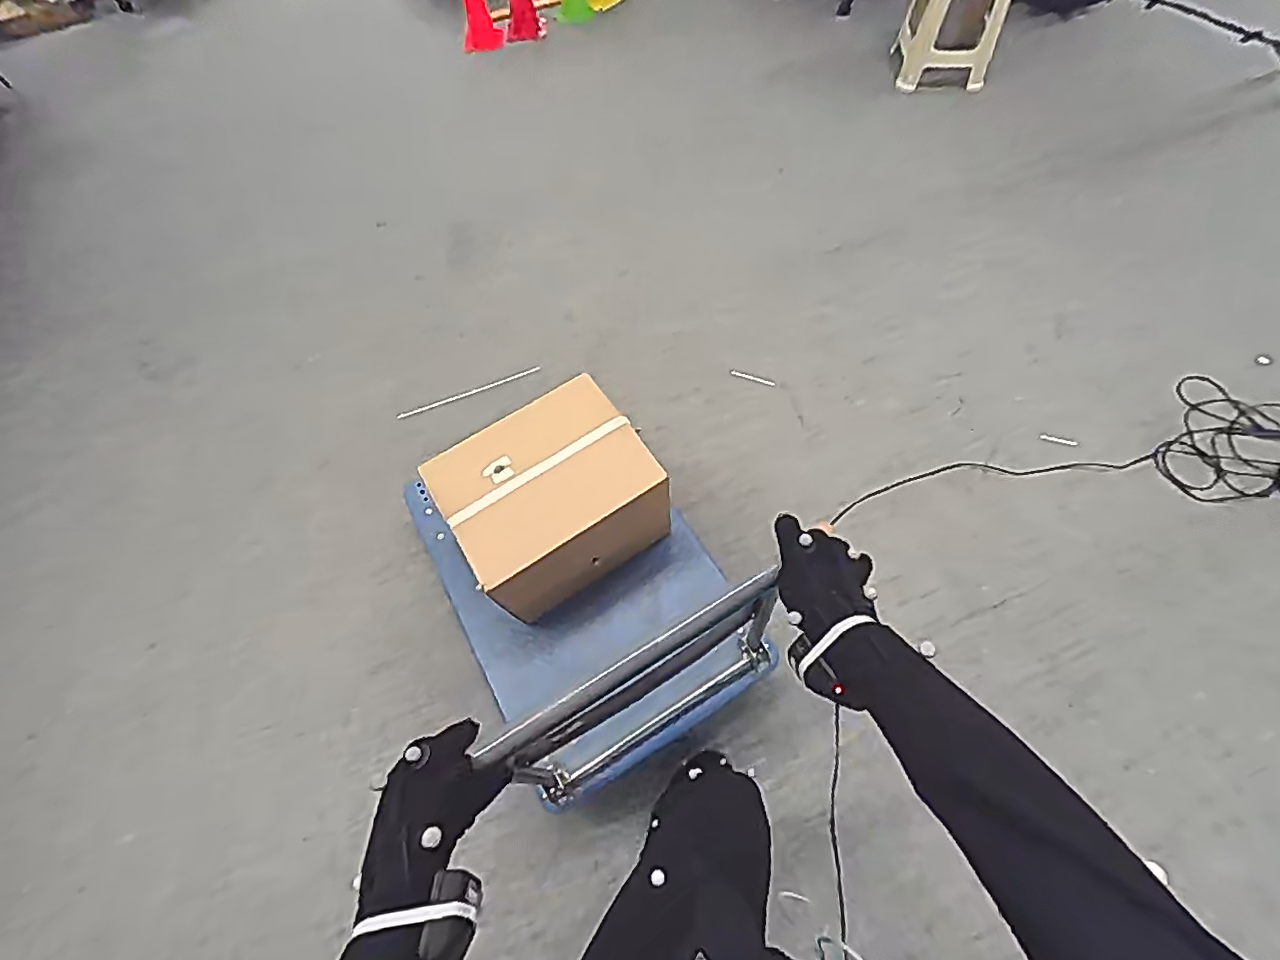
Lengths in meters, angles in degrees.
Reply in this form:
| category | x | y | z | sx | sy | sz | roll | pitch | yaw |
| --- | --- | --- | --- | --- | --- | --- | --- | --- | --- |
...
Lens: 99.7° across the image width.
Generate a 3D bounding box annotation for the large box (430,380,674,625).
| category | x | y | z | sx | sy | sz | roll | pitch | yaw |
| --- | --- | --- | --- | --- | --- | --- | --- | --- | --- |
| large box | -0.171 | 0.060 | 1.210 | 0.408 | 0.320 | 0.320 | -33 | 65 | -11 |
